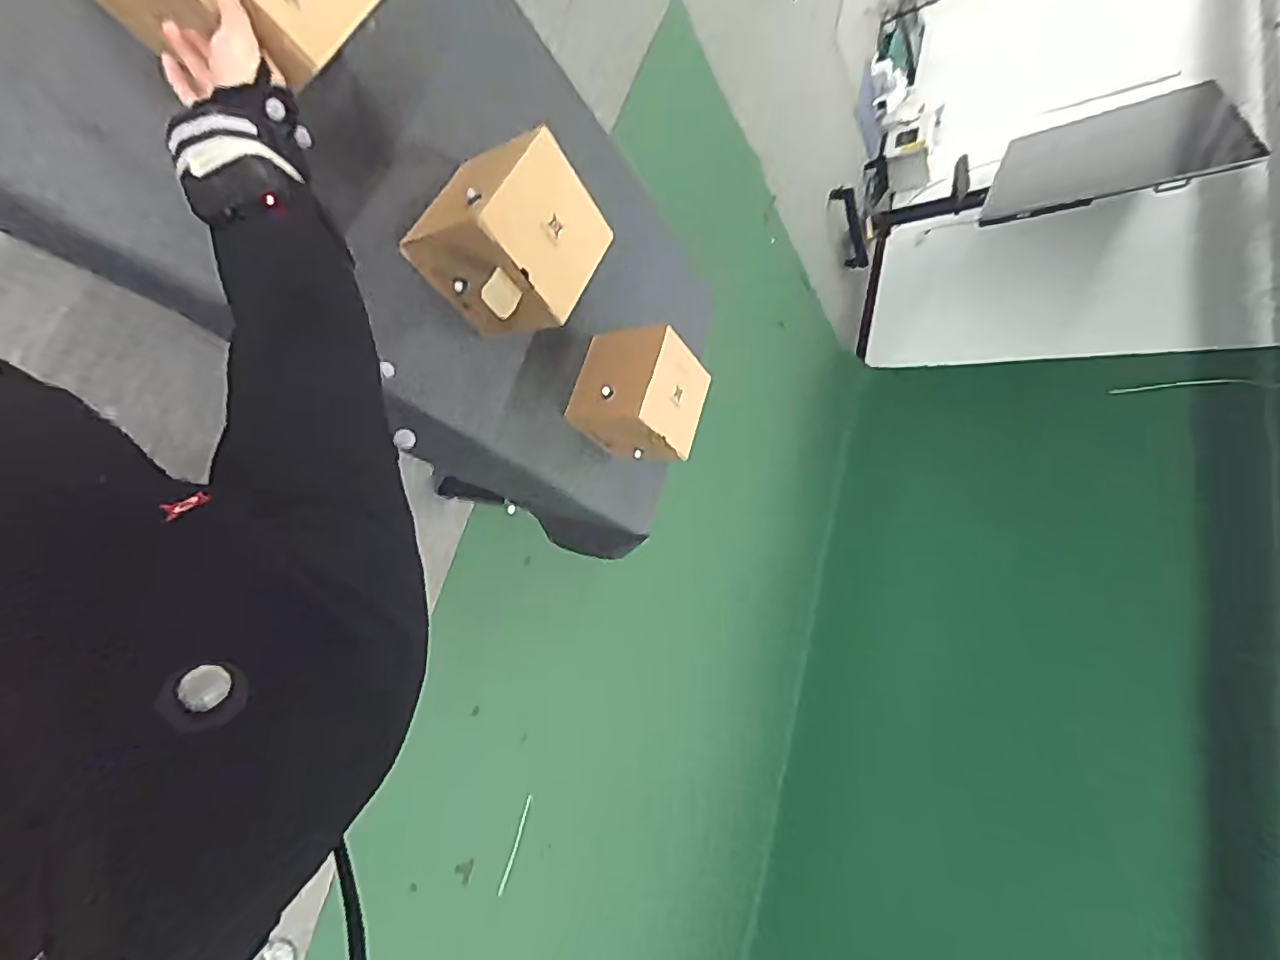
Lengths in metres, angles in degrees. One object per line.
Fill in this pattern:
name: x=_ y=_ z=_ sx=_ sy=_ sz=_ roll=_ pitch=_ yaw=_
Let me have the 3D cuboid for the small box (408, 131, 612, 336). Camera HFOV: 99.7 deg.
small box: x=-0.171 y=-0.316 z=0.722 sx=0.168 sy=0.176 sz=0.179 roll=47 pitch=57 yaw=-45

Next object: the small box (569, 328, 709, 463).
small box: x=-0.002 y=-0.142 z=0.963 sx=0.168 sy=0.176 sz=0.179 roll=37 pitch=63 yaw=-49
